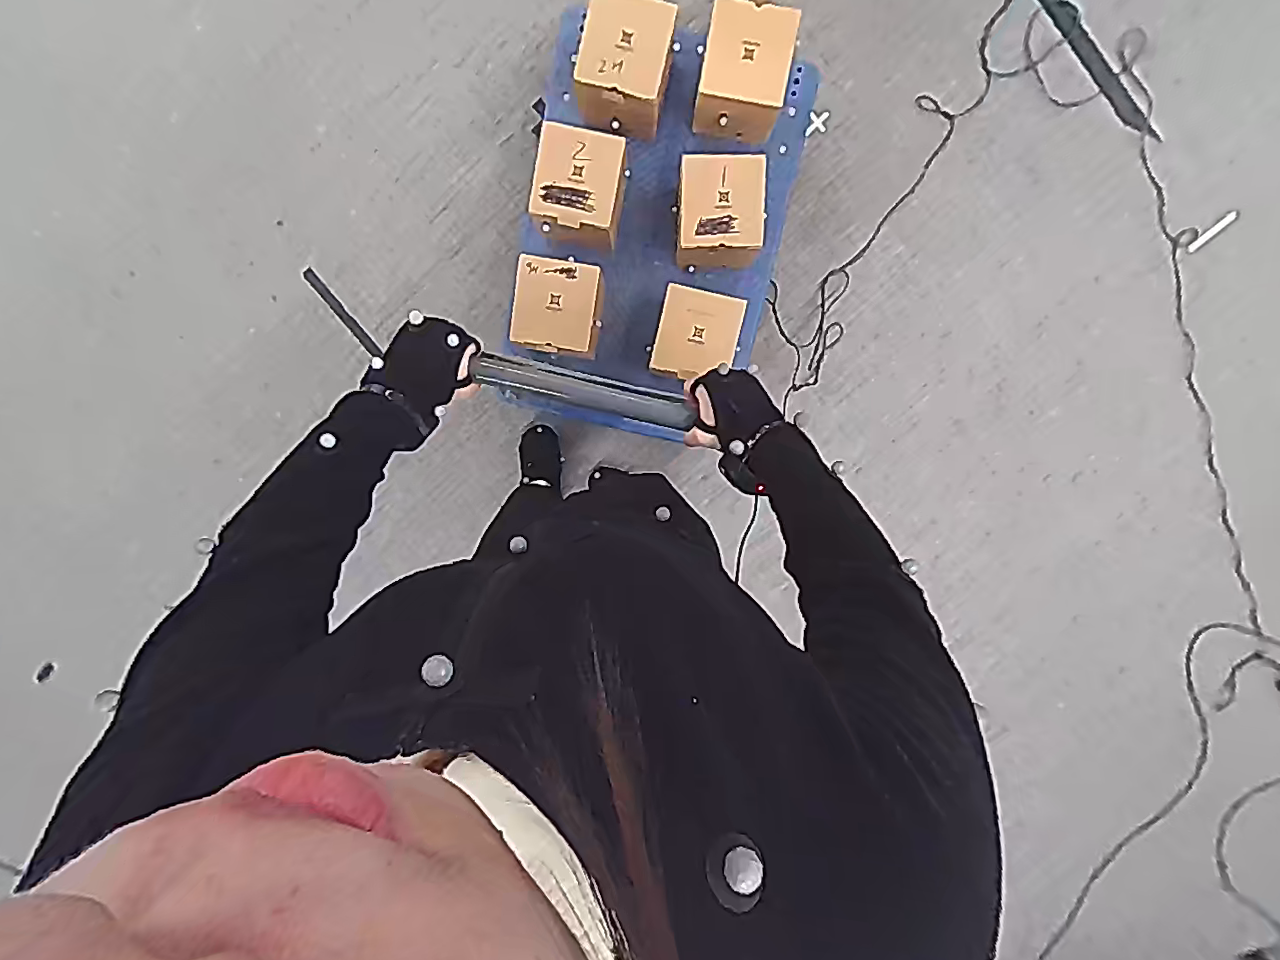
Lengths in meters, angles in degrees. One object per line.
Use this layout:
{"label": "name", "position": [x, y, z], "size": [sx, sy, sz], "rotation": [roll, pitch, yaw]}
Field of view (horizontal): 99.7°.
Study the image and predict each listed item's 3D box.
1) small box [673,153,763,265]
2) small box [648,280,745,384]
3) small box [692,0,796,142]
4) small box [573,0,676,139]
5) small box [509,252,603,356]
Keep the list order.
{"label": "small box", "position": [0.159, -0.564, 1.147], "size": [0.168, 0.176, 0.179], "rotation": [1, 97, 0]}
{"label": "small box", "position": [0.116, -0.313, 1.183], "size": [0.168, 0.176, 0.179], "rotation": [13, 97, -2]}
{"label": "small box", "position": [0.203, -0.831, 1.109], "size": [0.168, 0.176, 0.179], "rotation": [10, 98, -1]}
{"label": "small box", "position": [-0.031, -0.845, 1.106], "size": [0.168, 0.176, 0.179], "rotation": [14, 99, -2]}
{"label": "small box", "position": [-0.176, -0.373, 1.175], "size": [0.168, 0.176, 0.179], "rotation": [9, 99, -2]}
